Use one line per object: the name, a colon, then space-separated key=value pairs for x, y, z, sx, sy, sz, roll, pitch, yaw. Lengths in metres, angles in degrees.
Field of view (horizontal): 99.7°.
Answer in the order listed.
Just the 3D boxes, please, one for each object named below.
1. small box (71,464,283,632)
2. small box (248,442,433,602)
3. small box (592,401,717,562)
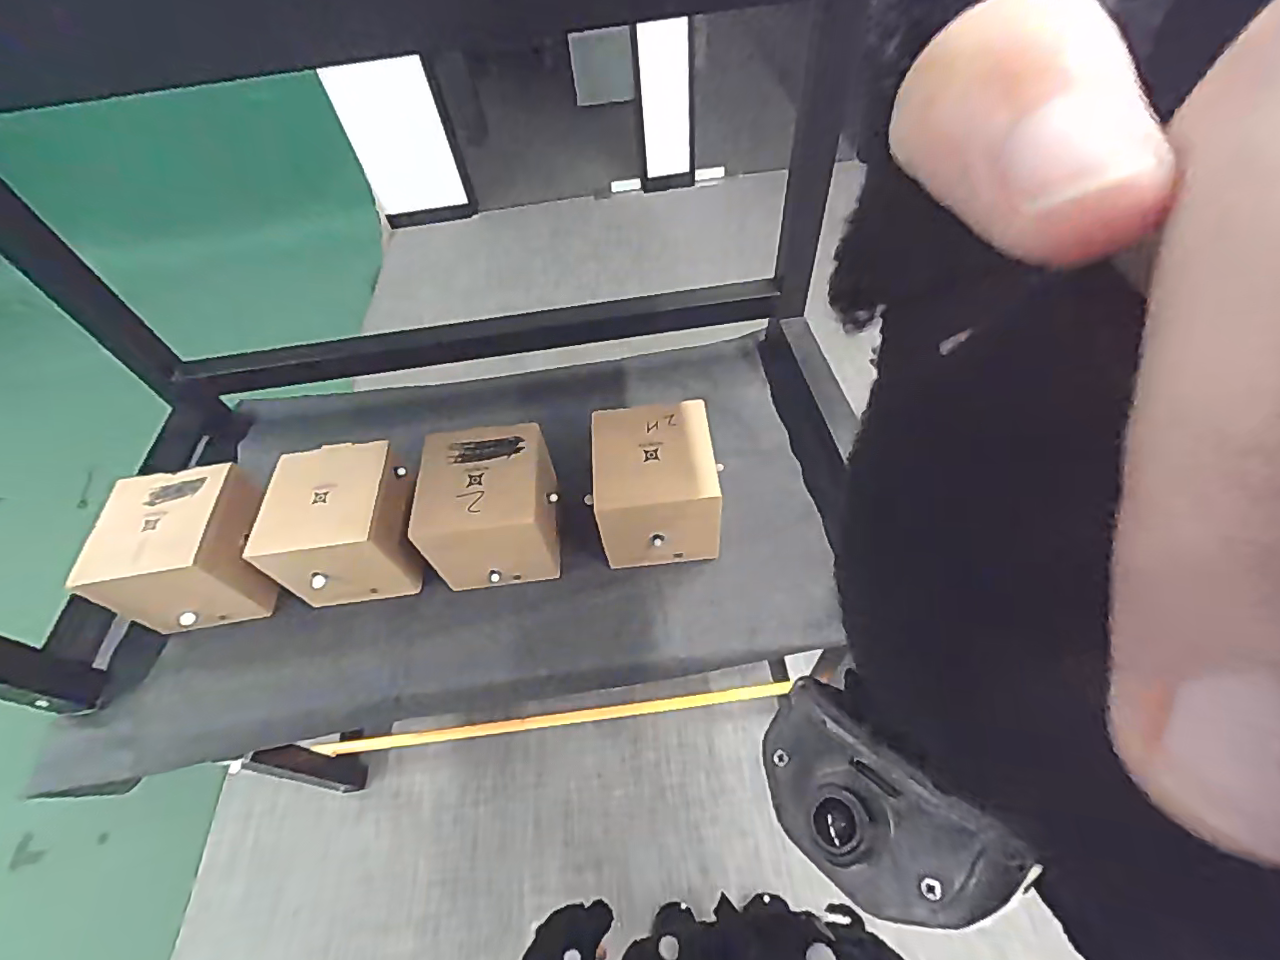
small box: x=-0.653 y=0.104 z=0.806 sx=0.168 sy=0.176 sz=0.179 roll=-10 pitch=53 yaw=-1
small box: x=-0.428 y=0.070 z=0.810 sx=0.168 sy=0.176 sz=0.179 roll=-7 pitch=52 yaw=0
small box: x=0.023 y=0.010 z=0.801 sx=0.168 sy=0.176 sz=0.179 roll=-6 pitch=52 yaw=2
